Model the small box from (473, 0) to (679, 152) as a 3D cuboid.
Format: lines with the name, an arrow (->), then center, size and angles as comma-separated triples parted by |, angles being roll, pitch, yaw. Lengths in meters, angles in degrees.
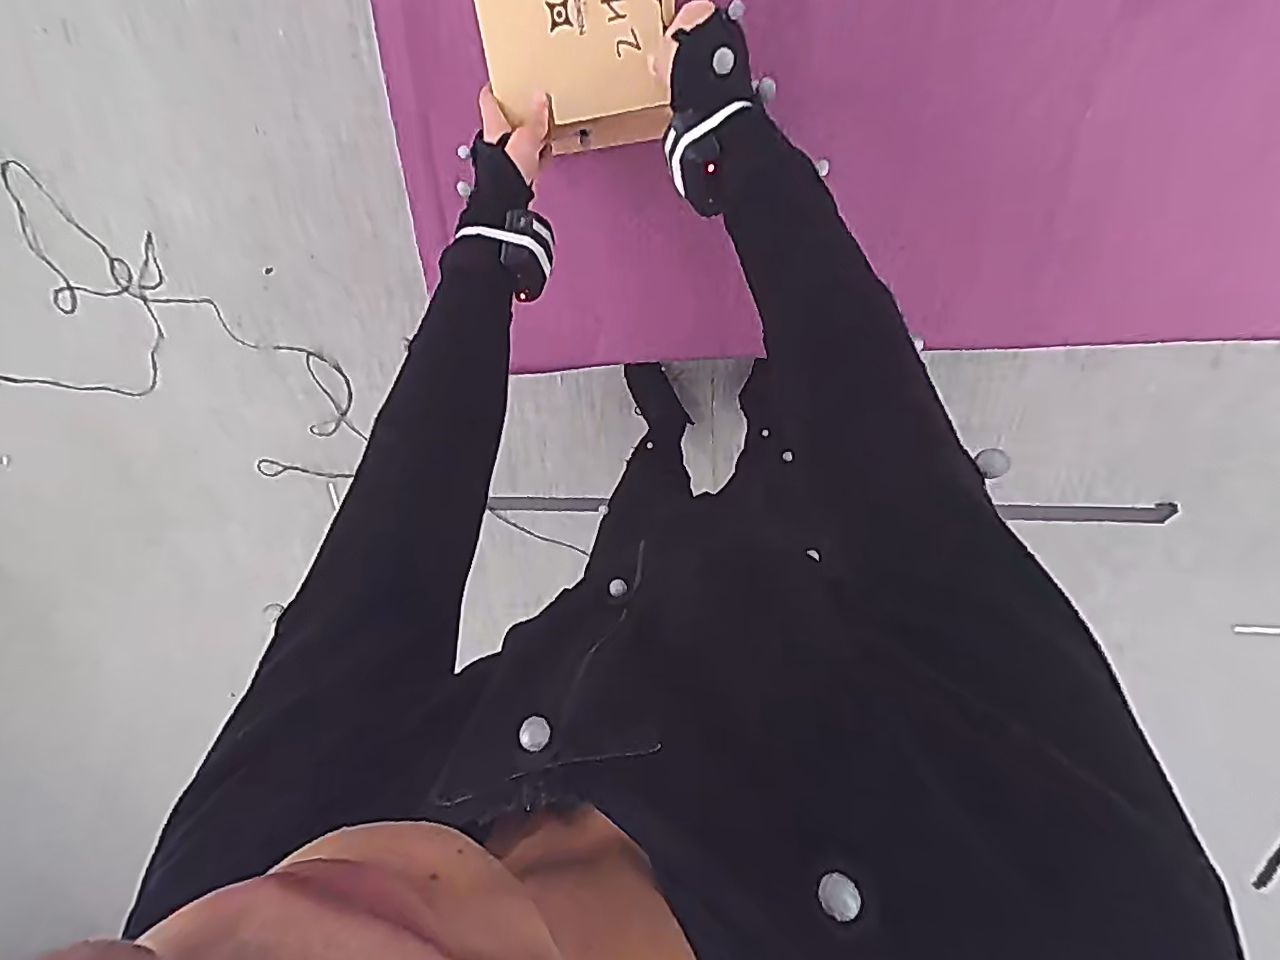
small box -> -0.055, -0.454, 0.562 | 0.179, 0.176, 0.168 | -3, 115, 8
